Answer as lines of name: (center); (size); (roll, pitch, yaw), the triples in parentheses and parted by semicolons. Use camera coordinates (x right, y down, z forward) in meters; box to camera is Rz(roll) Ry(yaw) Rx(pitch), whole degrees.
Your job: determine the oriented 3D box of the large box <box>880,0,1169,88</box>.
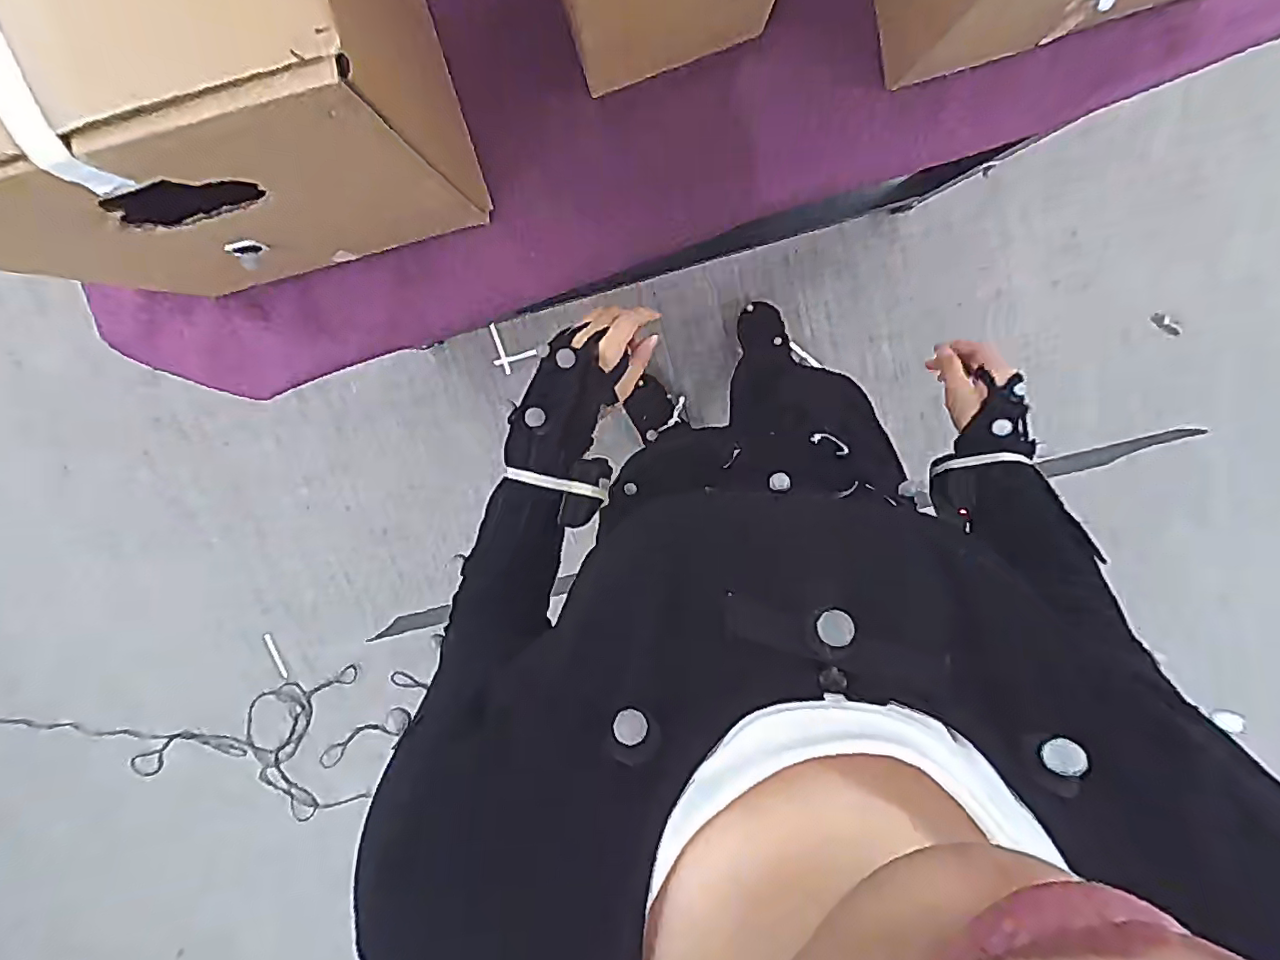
large box: (0.331, -0.563, 0.322); (0.320, 0.320, 0.408); (-16, 102, 3)
